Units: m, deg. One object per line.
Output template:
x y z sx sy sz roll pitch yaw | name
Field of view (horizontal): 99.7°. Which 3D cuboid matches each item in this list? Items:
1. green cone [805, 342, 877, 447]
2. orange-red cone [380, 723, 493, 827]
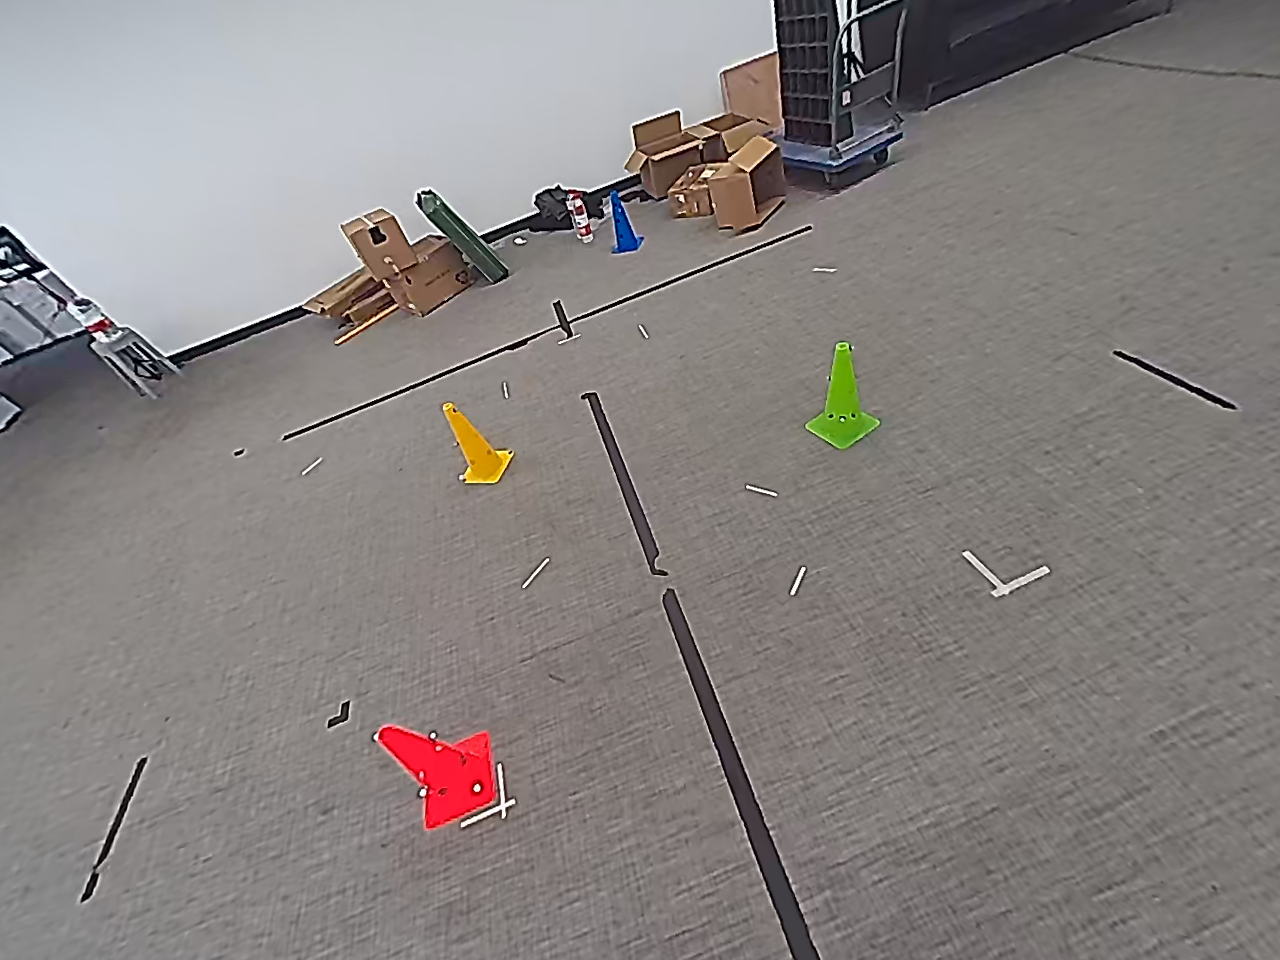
0.716 -0.329 1.931 0.200 0.368 0.202 -34 46 -13 | green cone
-0.545 0.705 1.375 0.198 0.360 0.199 -22 42 -2 | orange-red cone
